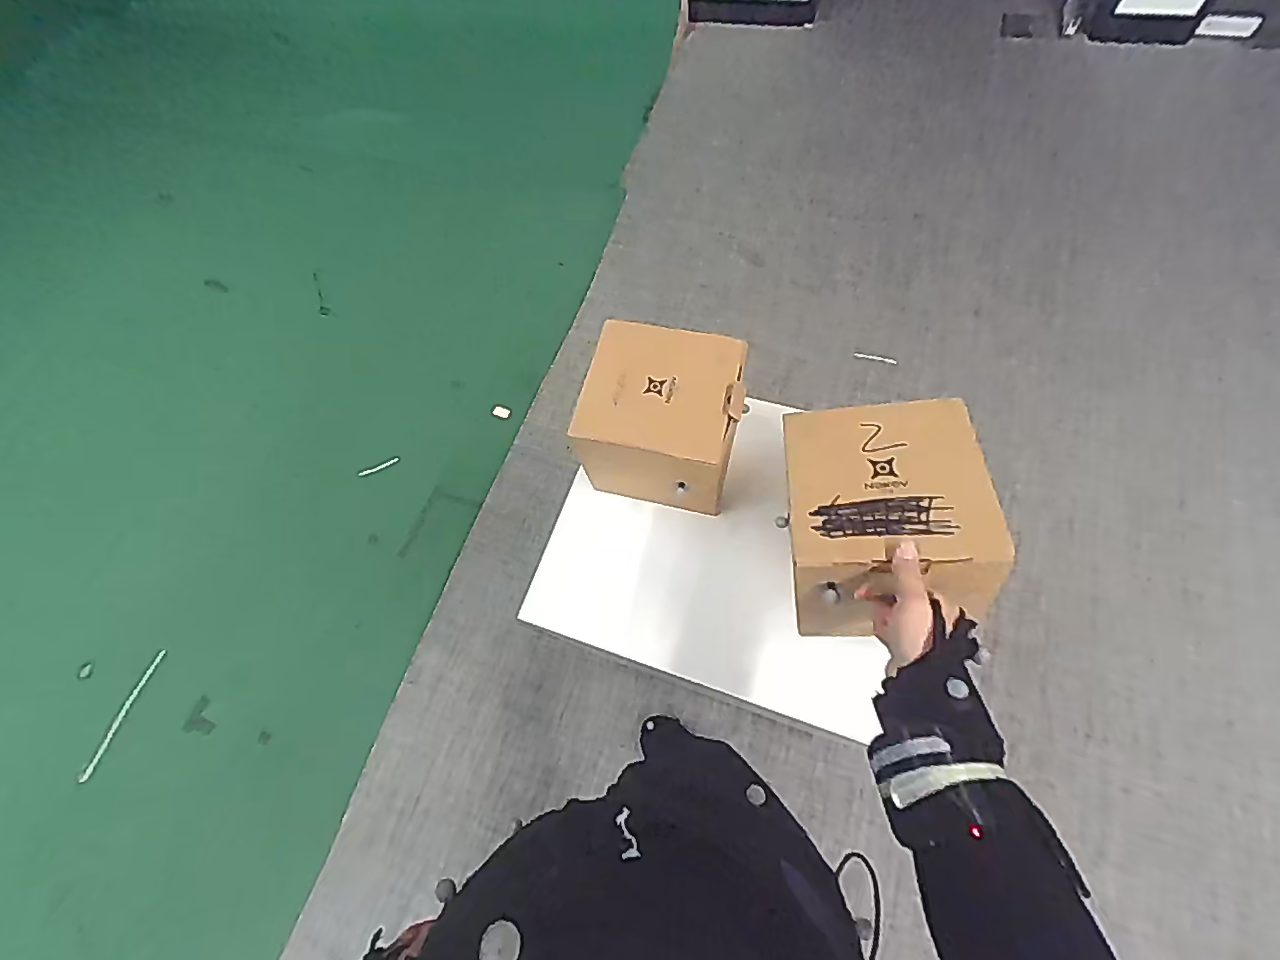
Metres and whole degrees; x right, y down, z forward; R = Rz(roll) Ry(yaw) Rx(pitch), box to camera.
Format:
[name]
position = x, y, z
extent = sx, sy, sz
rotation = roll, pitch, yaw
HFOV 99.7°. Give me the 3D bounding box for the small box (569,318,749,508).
[small box]
position = 0.032, -0.076, 0.685
extent = 0.179, 0.176, 0.168
rotation = 11, 68, 12
